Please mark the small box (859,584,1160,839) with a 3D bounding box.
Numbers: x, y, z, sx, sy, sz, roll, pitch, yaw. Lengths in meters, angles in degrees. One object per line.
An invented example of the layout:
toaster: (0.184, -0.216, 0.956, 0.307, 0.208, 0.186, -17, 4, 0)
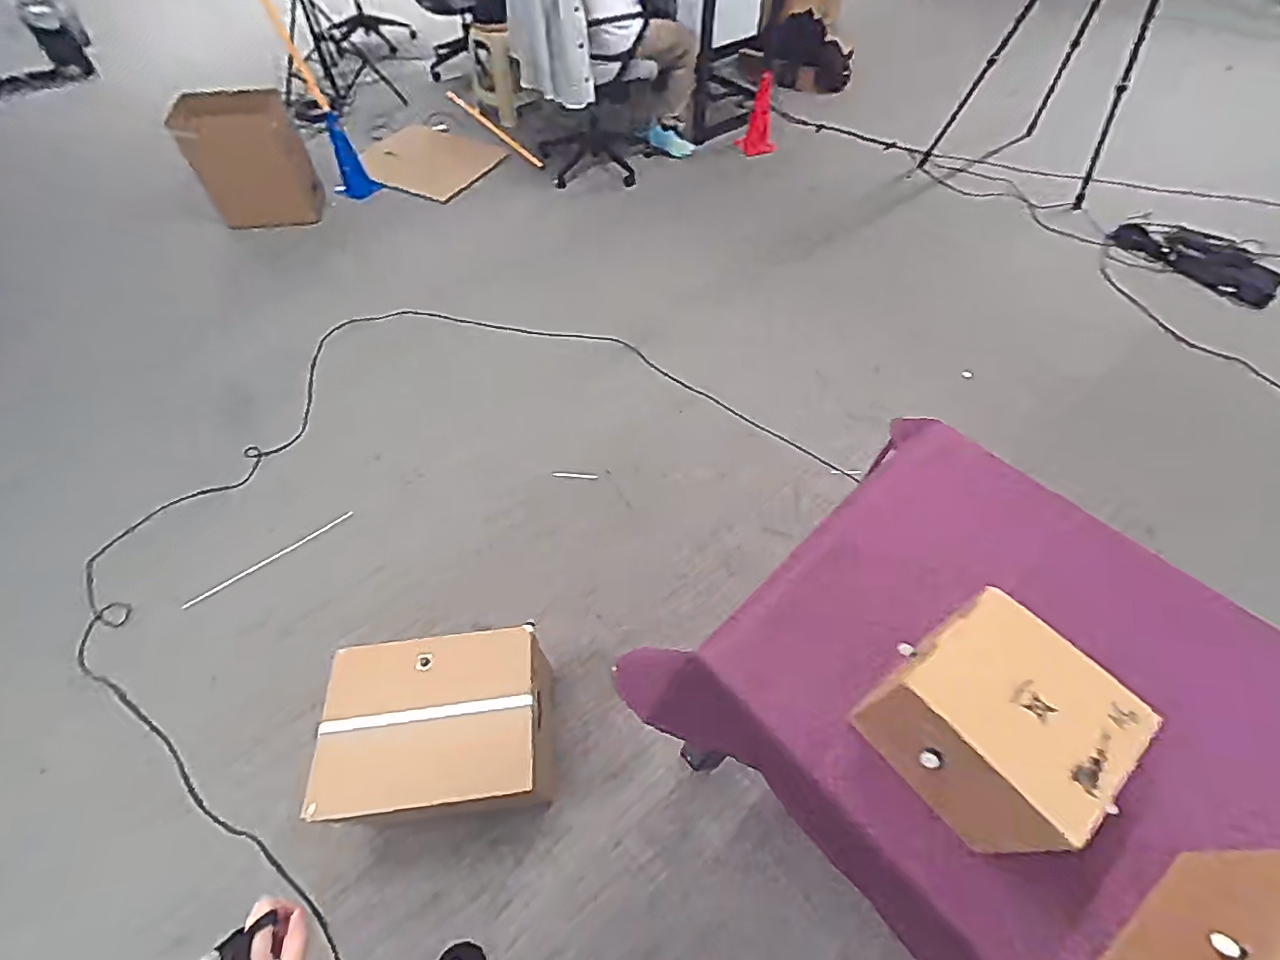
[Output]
small box: (0.371, 0.252, 0.580, 0.168, 0.176, 0.179, -33, 61, -21)
